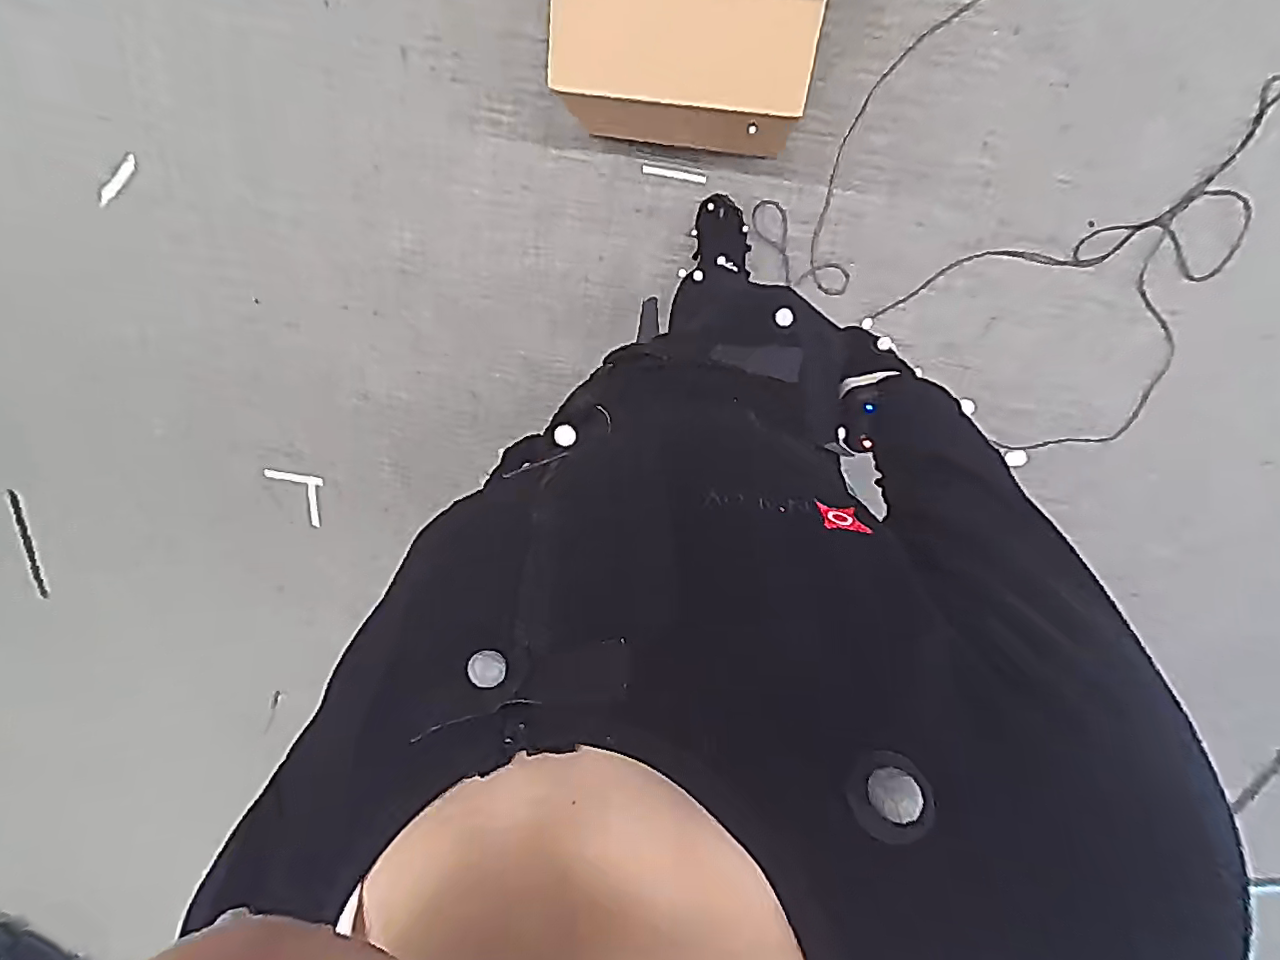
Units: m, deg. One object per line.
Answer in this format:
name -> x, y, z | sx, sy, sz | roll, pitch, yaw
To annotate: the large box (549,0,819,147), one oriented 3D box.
large box -> 0.086, -0.789, 0.926 | 0.408, 0.320, 0.320 | 9, 111, 4
